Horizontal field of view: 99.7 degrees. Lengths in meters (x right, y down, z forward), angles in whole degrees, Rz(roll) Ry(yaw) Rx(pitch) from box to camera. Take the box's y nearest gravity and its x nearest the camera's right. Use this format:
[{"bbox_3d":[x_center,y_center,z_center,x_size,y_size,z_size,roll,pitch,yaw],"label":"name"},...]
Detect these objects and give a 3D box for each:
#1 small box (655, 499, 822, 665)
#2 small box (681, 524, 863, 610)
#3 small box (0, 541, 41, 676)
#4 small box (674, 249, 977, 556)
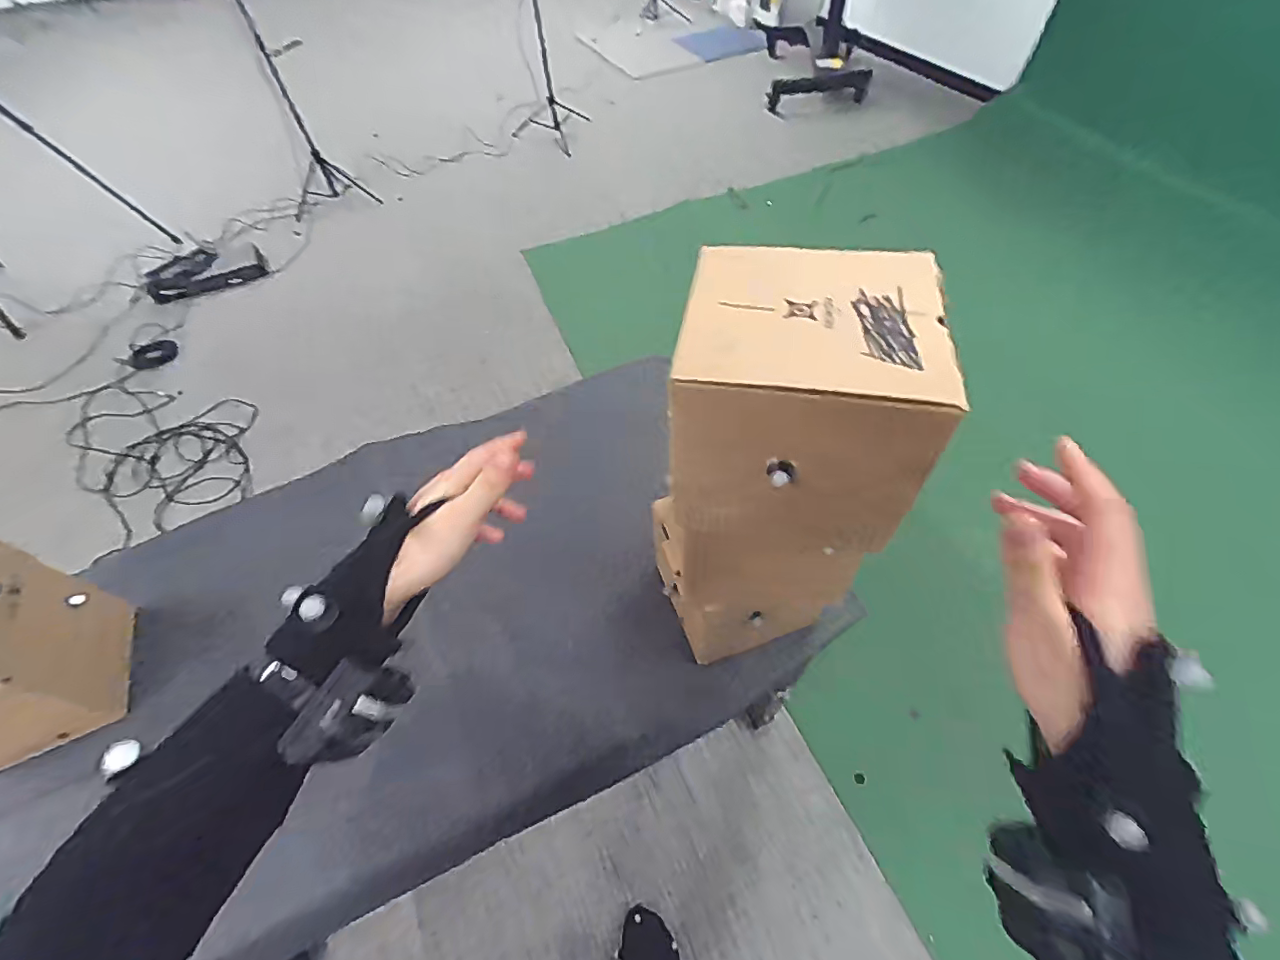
[{"bbox_3d":[0.133,0.117,0.708,0.179,0.176,0.168,-18,52,-8],"label":"small box"},{"bbox_3d":[0.131,0.027,0.571,0.179,0.176,0.168,-1,52,4],"label":"small box"},{"bbox_3d":[-0.797,0.142,0.550,0.179,0.176,0.168,-22,57,-12],"label":"small box"},{"bbox_3d":[0.127,-0.057,0.427,0.179,0.176,0.168,7,53,11],"label":"small box"}]
